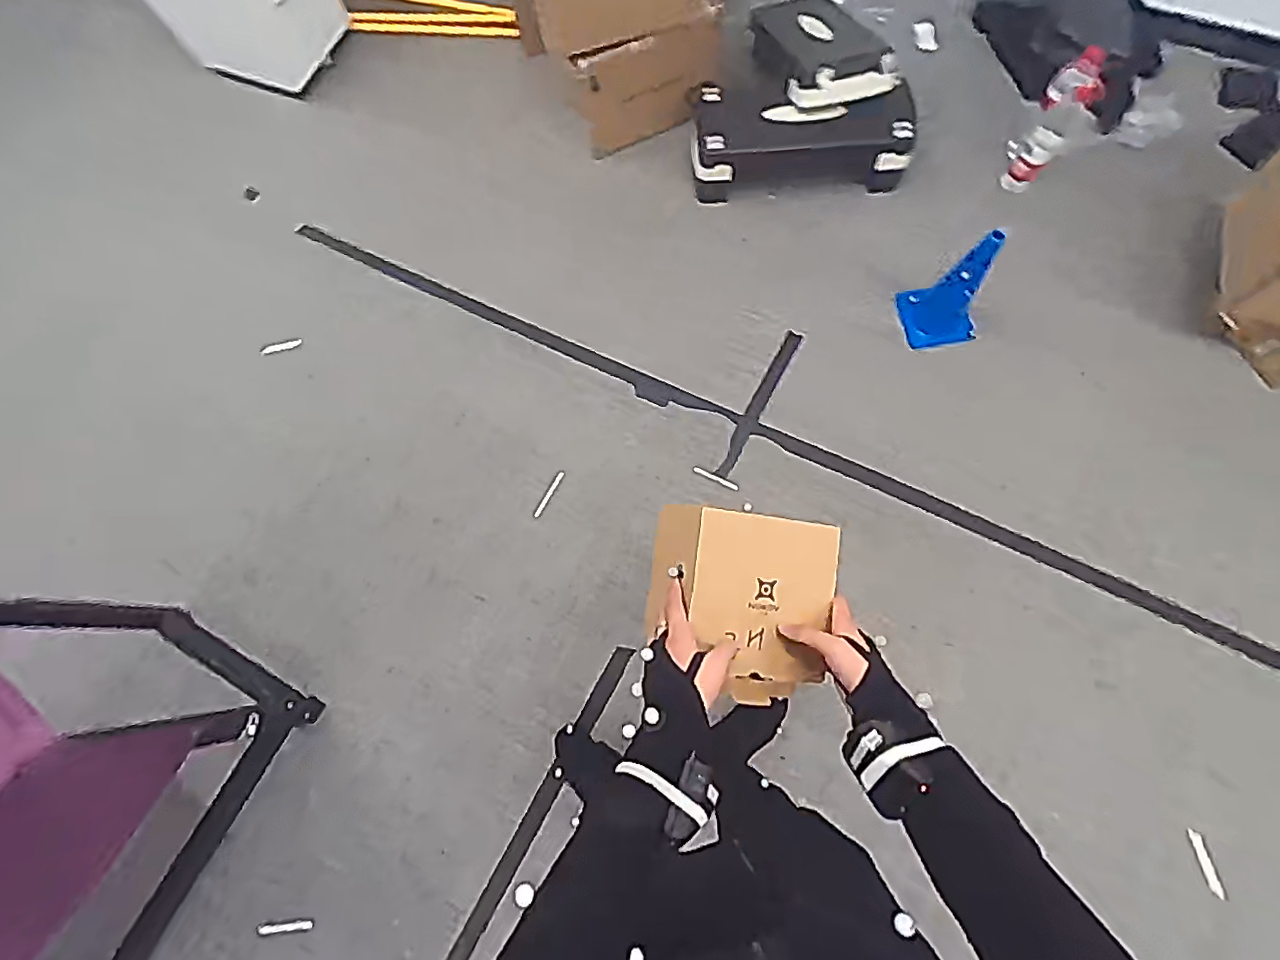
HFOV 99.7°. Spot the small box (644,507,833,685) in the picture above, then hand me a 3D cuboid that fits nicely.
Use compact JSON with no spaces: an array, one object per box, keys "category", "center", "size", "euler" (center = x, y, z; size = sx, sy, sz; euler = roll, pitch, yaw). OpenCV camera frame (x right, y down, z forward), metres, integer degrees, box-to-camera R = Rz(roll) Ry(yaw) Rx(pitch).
[{"category":"small box","center":[0.107,0.129,0.655],"size":[0.168,0.176,0.179],"euler":[8,86,-12]}]
